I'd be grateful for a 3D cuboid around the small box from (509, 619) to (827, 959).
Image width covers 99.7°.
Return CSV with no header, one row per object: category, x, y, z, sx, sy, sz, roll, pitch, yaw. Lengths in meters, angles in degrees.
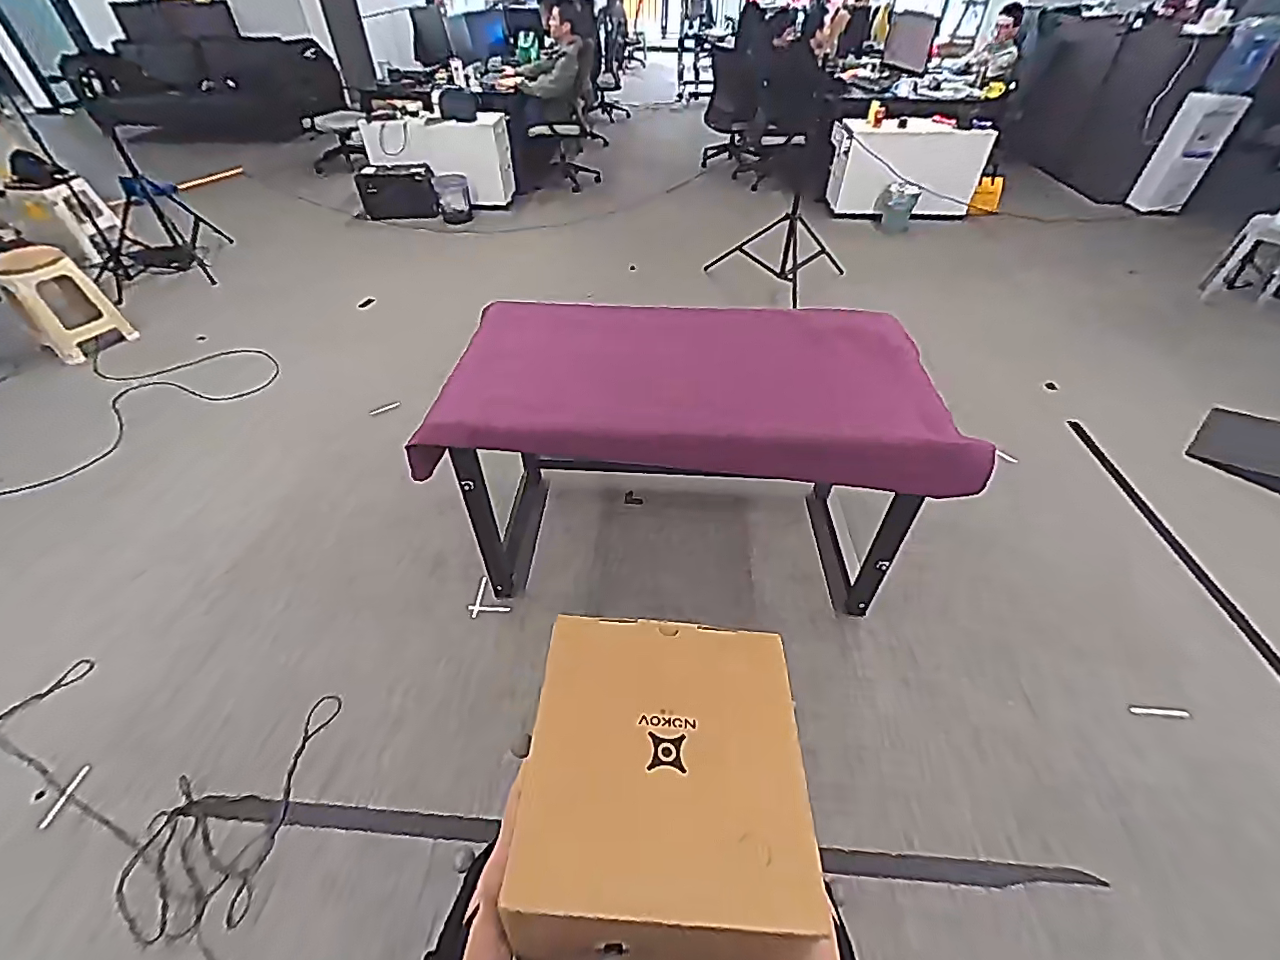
small box,0.014,0.226,0.385,0.168,0.176,0.179,5,39,-1
